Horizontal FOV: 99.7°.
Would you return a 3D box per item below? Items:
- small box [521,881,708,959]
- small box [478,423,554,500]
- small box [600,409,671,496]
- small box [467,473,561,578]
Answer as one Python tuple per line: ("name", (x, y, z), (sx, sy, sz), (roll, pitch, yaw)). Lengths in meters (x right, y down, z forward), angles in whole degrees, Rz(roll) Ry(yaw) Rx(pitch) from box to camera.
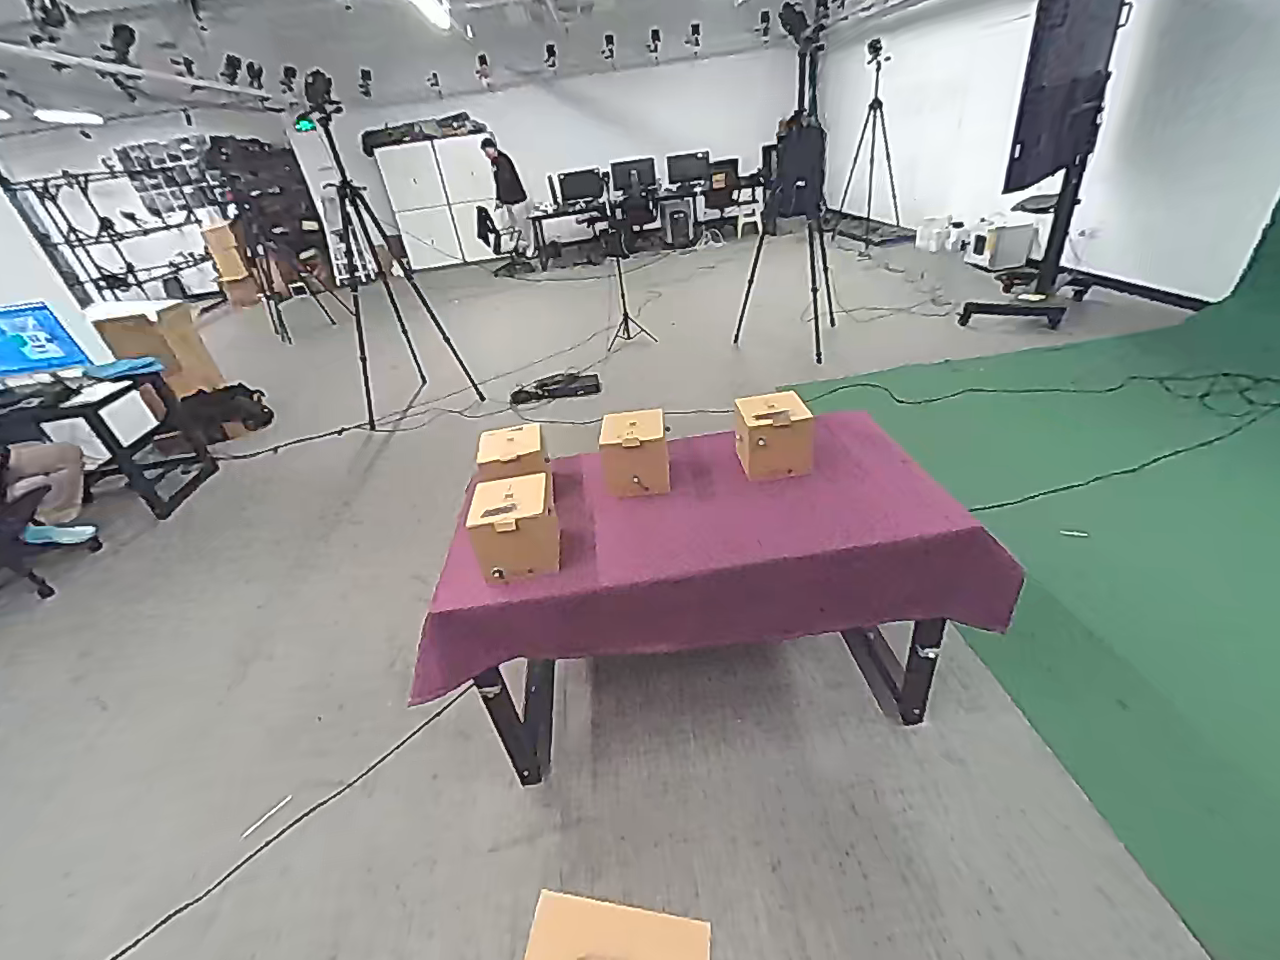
("small box", (-0.032, 0.514, 0.498), (0.168, 0.176, 0.179), (7, 38, 5))
("small box", (-0.332, -0.033, 1.477), (0.168, 0.176, 0.179), (-11, 33, -4))
("small box", (-0.008, -0.075, 1.464), (0.168, 0.176, 0.179), (-6, 33, 6))
("small box", (-0.280, 0.110, 1.243), (0.168, 0.176, 0.179), (-9, 31, -2))
